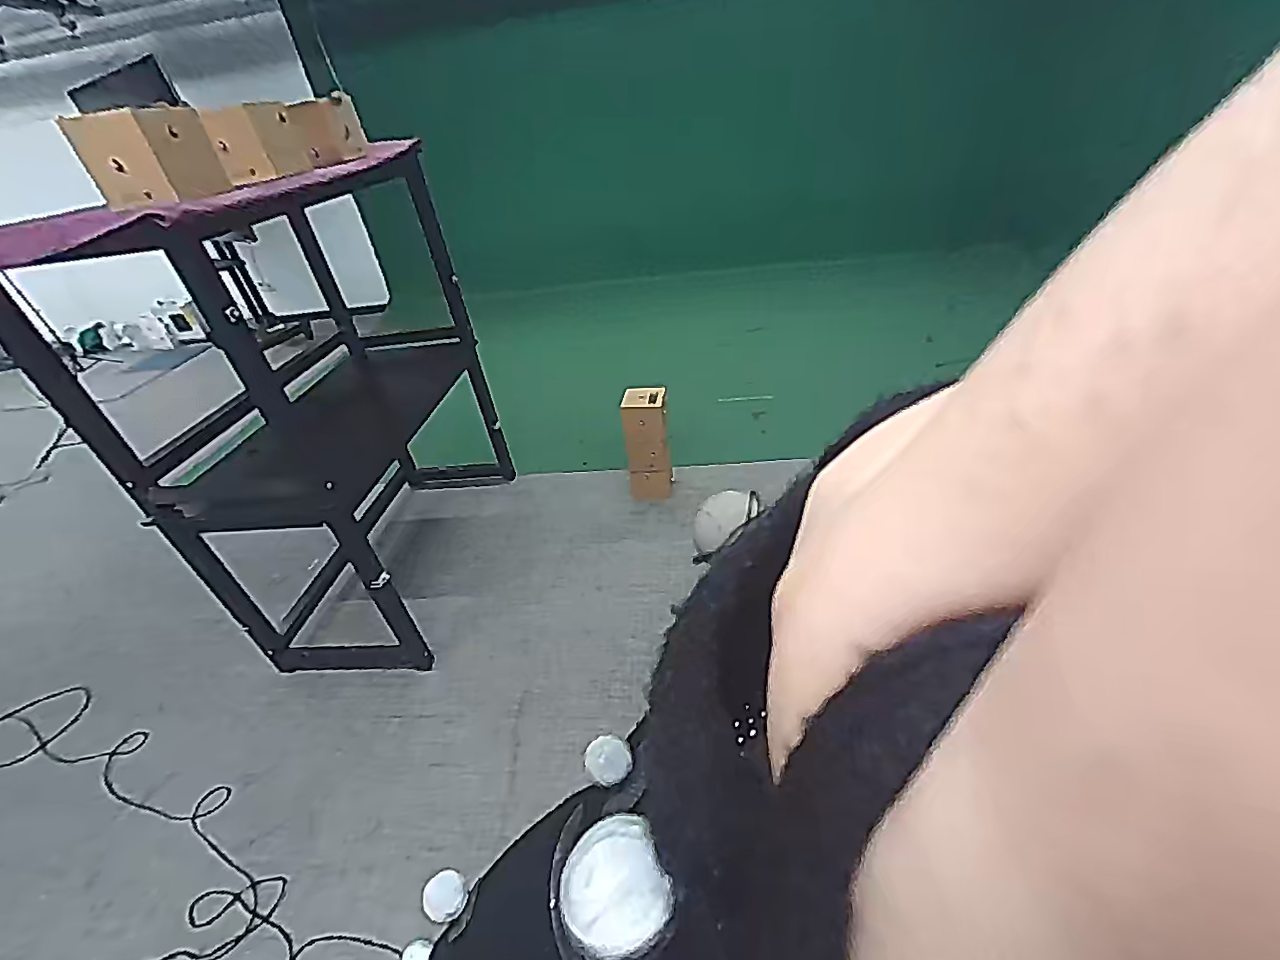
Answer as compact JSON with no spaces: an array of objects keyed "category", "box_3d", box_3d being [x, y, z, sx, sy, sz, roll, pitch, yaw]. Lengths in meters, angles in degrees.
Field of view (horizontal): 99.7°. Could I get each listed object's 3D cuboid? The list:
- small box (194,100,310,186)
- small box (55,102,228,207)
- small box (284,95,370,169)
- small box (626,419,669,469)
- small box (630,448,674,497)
[{"category":"small box","box_3d":[-1.032,-0.897,1.444,0.168,0.176,0.179,-5,35,8]},{"category":"small box","box_3d":[-1.037,-0.688,1.148,0.168,0.176,0.179,-3,35,6]},{"category":"small box","box_3d":[-1.009,-1.114,1.733,0.179,0.176,0.168,-1,38,14]},{"category":"small box","box_3d":[0.038,-0.158,2.421,0.168,0.176,0.179,-1,36,9]},{"category":"small box","box_3d":[0.059,-0.033,2.521,0.179,0.176,0.168,0,37,10]}]
